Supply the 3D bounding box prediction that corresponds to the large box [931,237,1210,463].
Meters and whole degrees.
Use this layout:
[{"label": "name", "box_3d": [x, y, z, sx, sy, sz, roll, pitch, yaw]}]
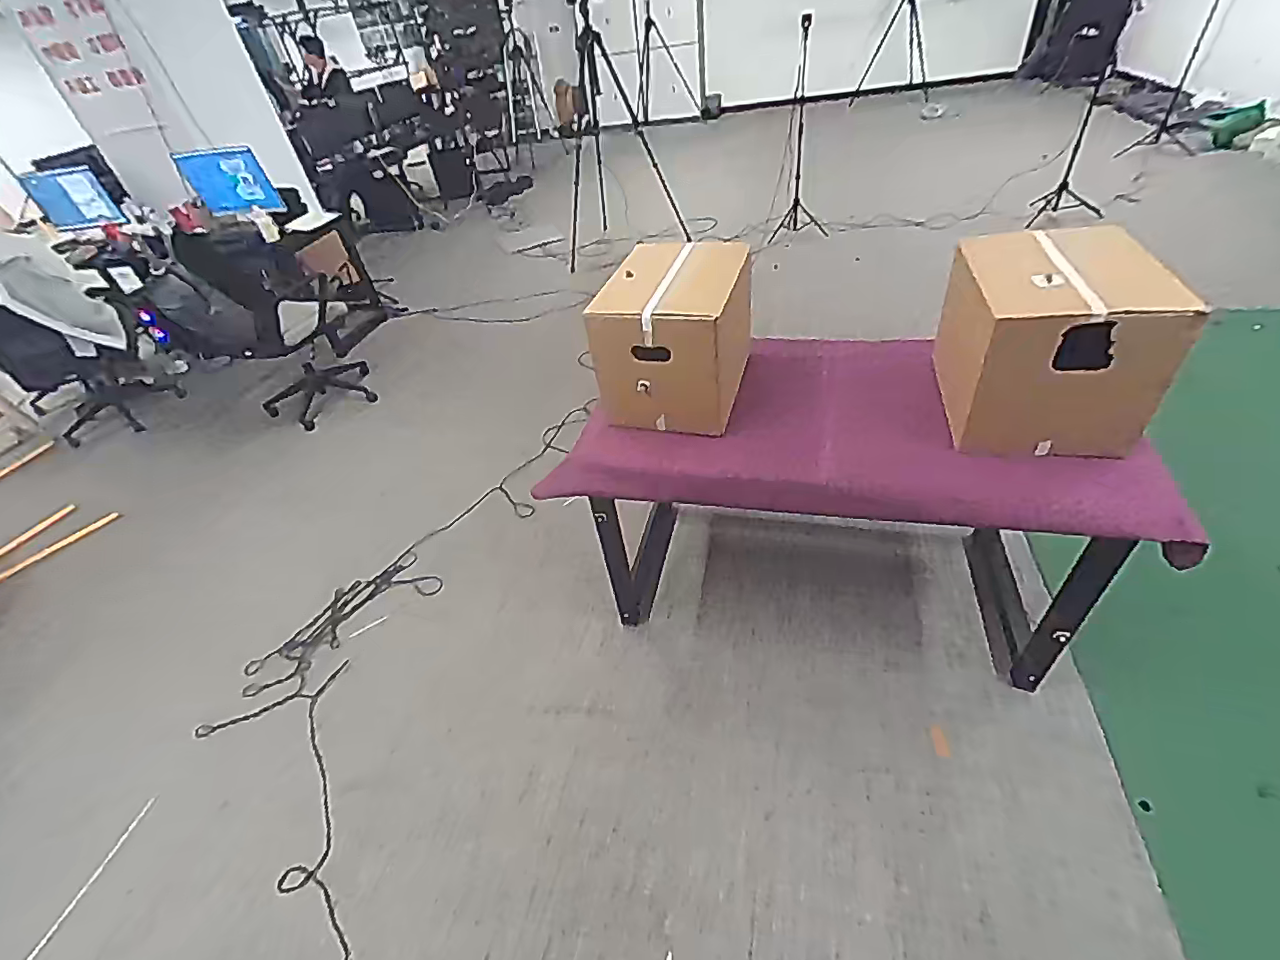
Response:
[{"label": "large box", "box_3d": [0.847, -0.282, 1.153, 0.320, 0.320, 0.408, 2, 43, 17]}]
